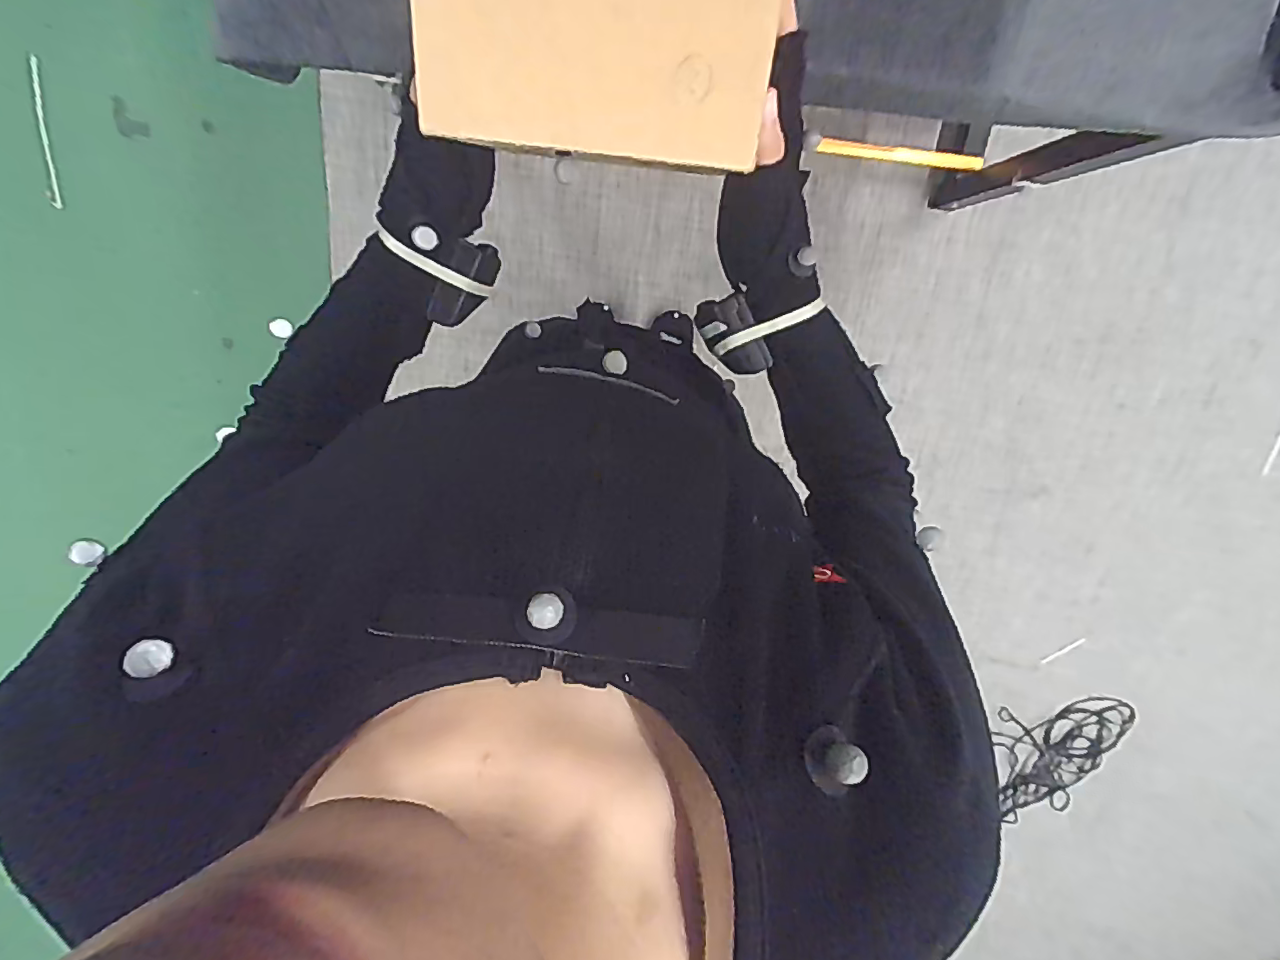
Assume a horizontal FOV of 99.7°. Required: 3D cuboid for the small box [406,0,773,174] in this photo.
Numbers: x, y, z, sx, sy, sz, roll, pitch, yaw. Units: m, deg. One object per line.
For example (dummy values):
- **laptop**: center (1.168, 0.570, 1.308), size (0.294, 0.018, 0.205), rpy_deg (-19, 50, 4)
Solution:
- **small box**: center (-0.014, -0.275, 0.294), size (0.168, 0.176, 0.179), rpy_deg (6, 117, 0)
